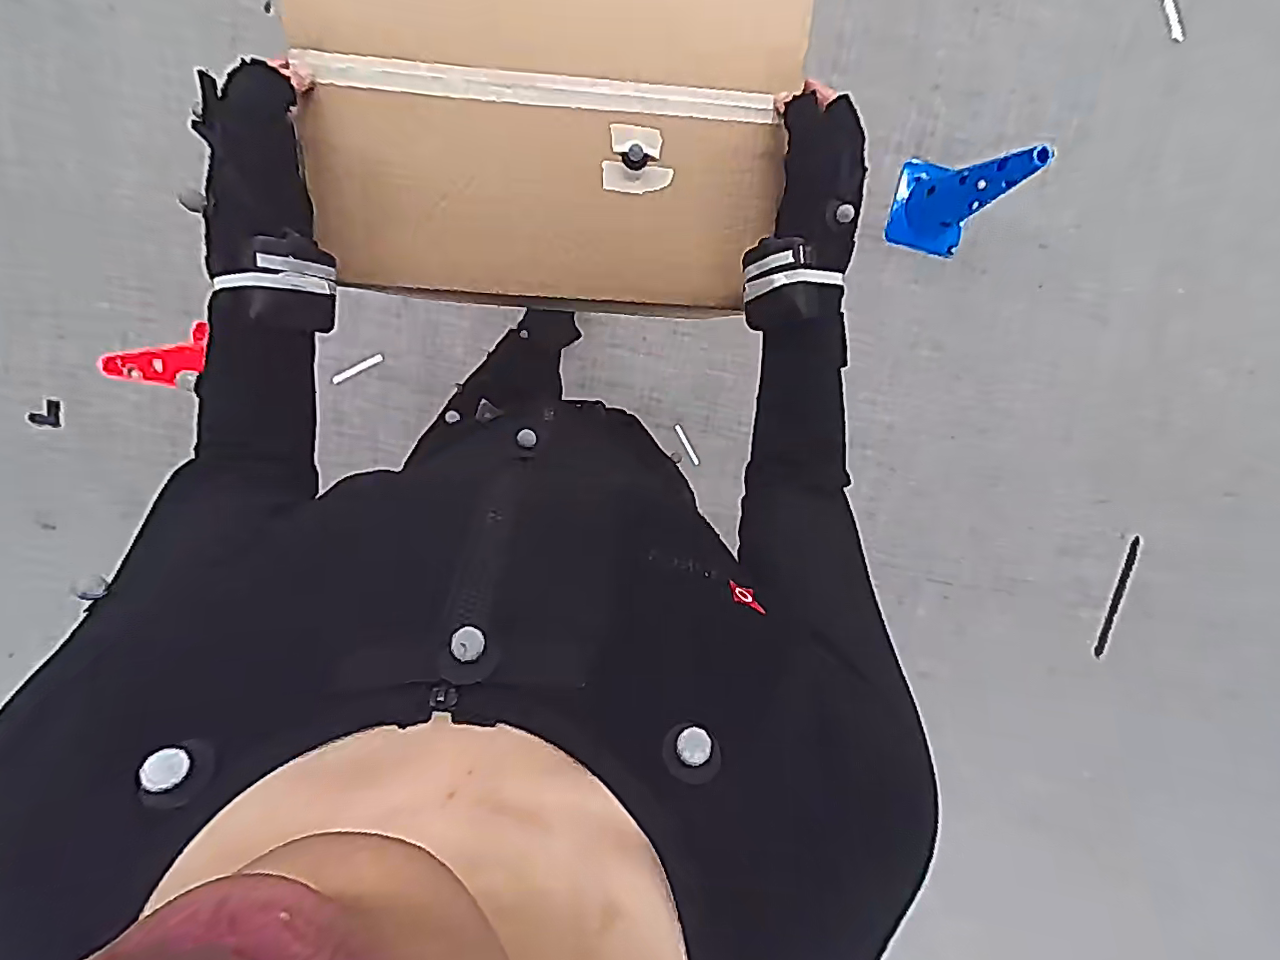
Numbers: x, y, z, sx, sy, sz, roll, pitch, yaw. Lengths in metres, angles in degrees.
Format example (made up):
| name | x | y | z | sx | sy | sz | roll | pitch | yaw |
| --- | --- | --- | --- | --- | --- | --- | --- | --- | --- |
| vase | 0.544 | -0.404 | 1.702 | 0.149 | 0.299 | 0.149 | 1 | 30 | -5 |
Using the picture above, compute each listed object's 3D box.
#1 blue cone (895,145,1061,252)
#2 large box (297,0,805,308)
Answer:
| name | x | y | z | sx | sy | sz | roll | pitch | yaw |
| --- | --- | --- | --- | --- | --- | --- | --- | --- | --- |
| blue cone | 0.764 | -0.661 | 1.214 | 0.192 | 0.380 | 0.193 | 13 | 100 | -8 |
| large box | -0.080 | -0.363 | 0.582 | 0.408 | 0.320 | 0.320 | 2 | 105 | -6 |
